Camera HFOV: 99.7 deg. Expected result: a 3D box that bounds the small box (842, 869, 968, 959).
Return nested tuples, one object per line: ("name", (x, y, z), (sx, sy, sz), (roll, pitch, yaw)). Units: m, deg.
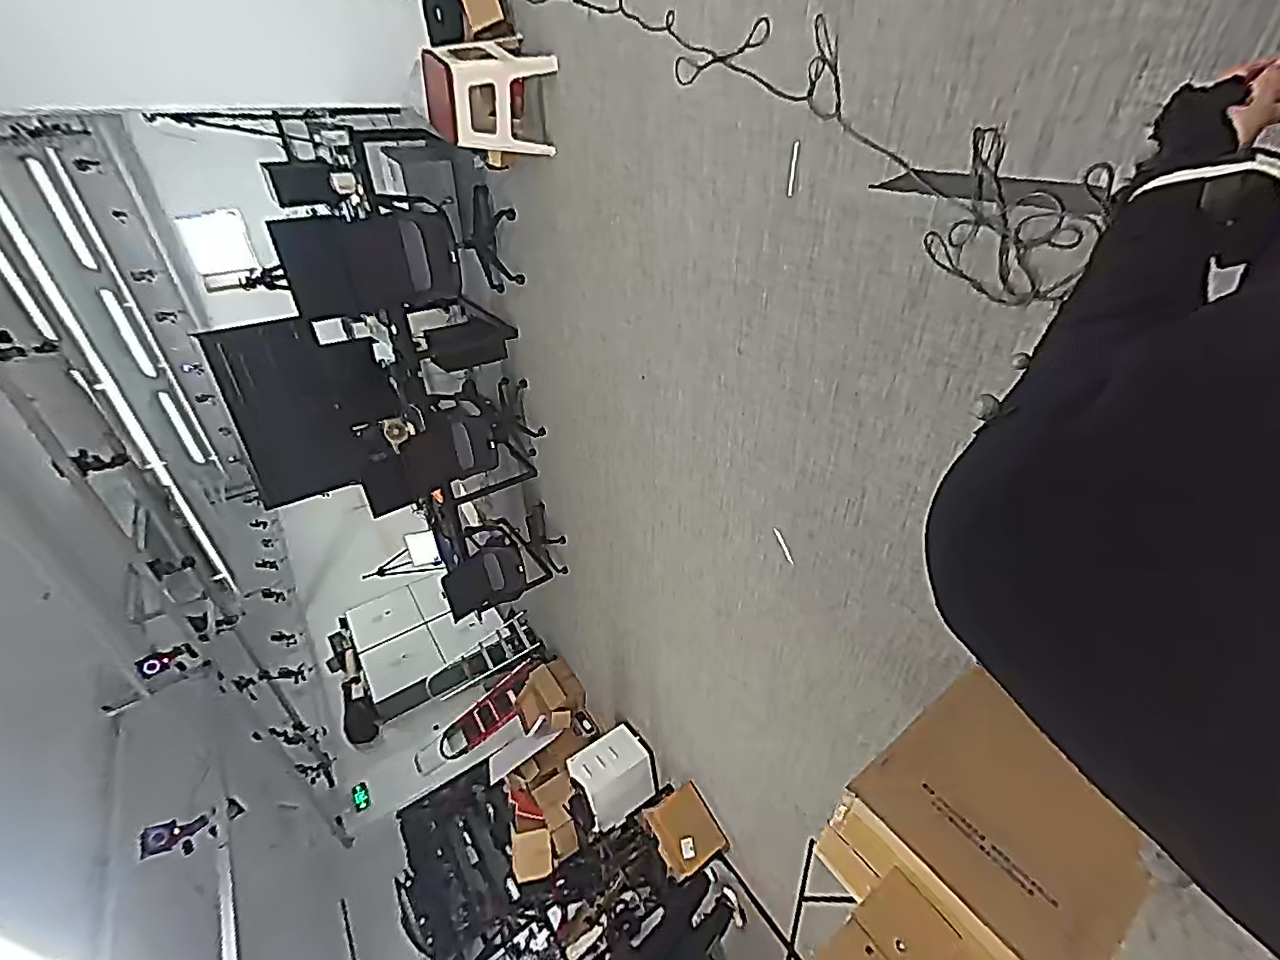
("small box", (0.597, 1.041, 1.223), (0.179, 0.176, 0.168), (41, 142, 41))
